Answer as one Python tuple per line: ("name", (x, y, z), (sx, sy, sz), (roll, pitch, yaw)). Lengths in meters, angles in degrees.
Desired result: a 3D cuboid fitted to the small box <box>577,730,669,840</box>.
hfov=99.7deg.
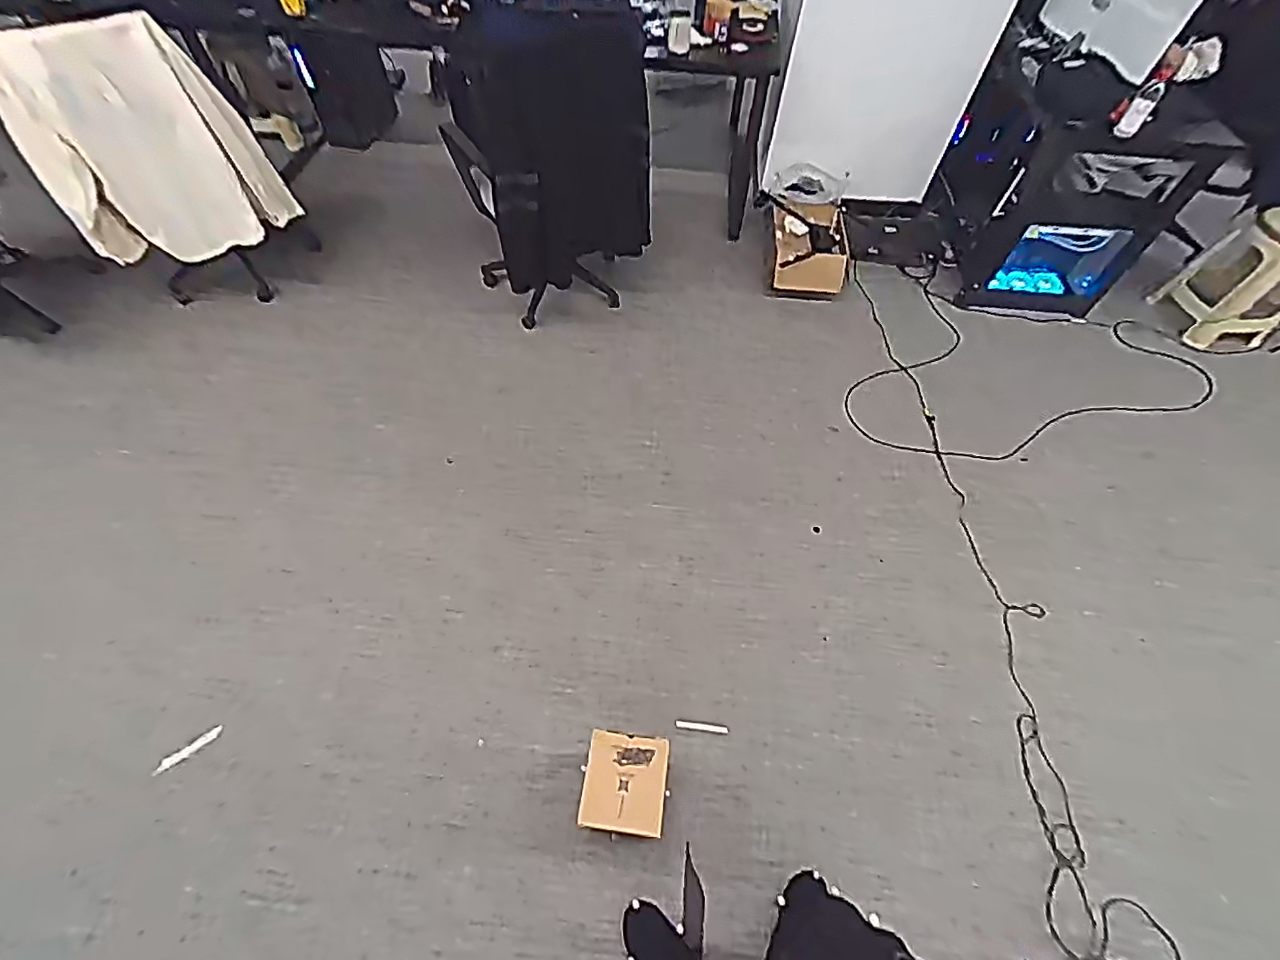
("small box", (-0.035, 0.654, 1.157), (0.168, 0.176, 0.179), (7, 58, 3))
